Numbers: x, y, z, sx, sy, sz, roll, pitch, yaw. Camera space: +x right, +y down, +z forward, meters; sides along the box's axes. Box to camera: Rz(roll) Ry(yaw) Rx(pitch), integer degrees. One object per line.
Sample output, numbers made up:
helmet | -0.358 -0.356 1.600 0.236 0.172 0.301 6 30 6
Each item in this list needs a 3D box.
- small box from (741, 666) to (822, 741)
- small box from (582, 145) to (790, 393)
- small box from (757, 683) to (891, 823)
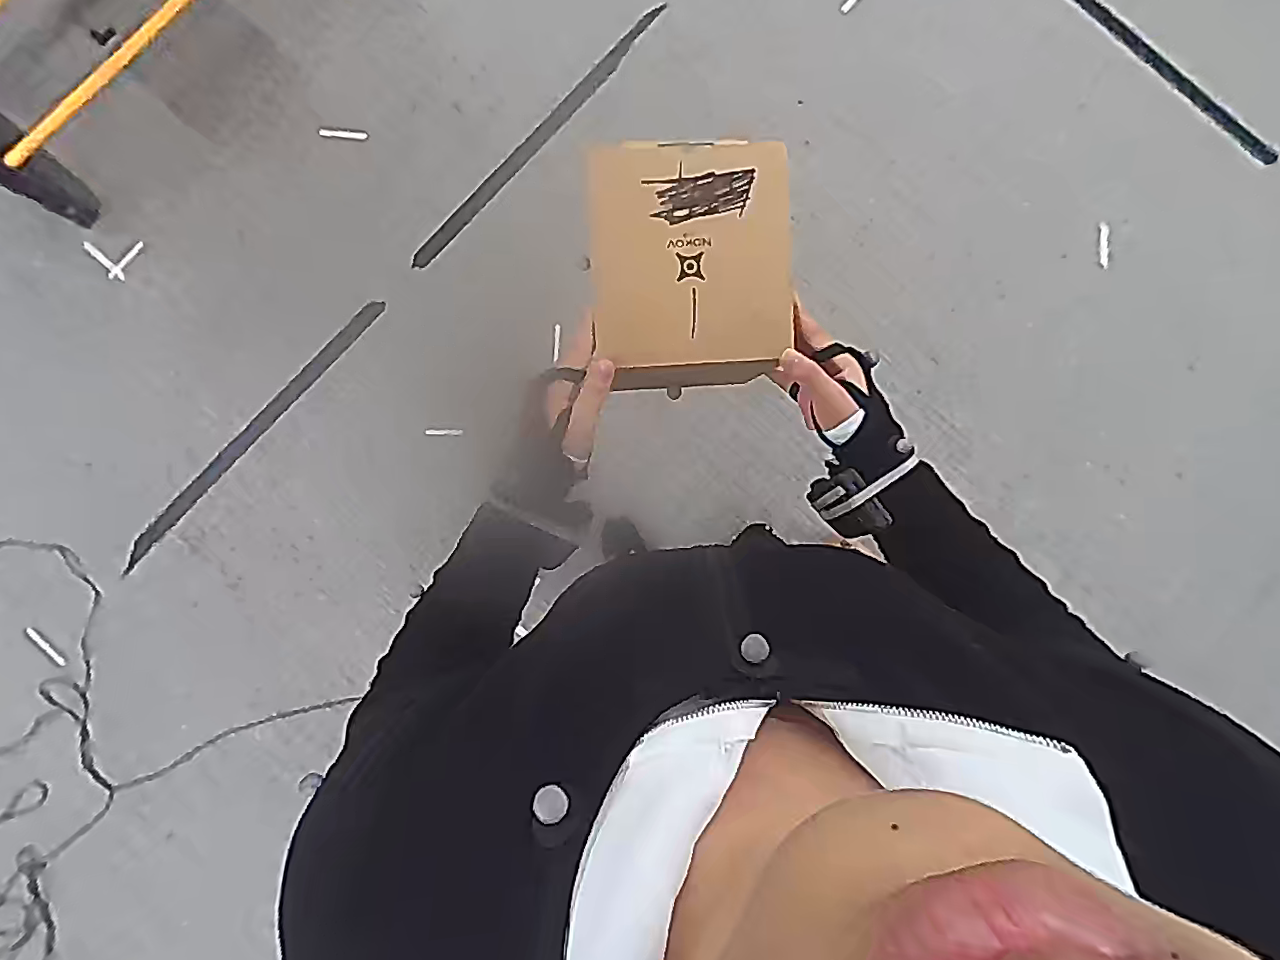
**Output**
small box | 0.368 0.574 1.304 0.179 0.176 0.168 39 88 1
small box | 0.033 -0.185 0.520 0.168 0.176 0.179 -5 94 -3
small box | 0.377 0.562 1.141 0.179 0.176 0.168 37 87 1
